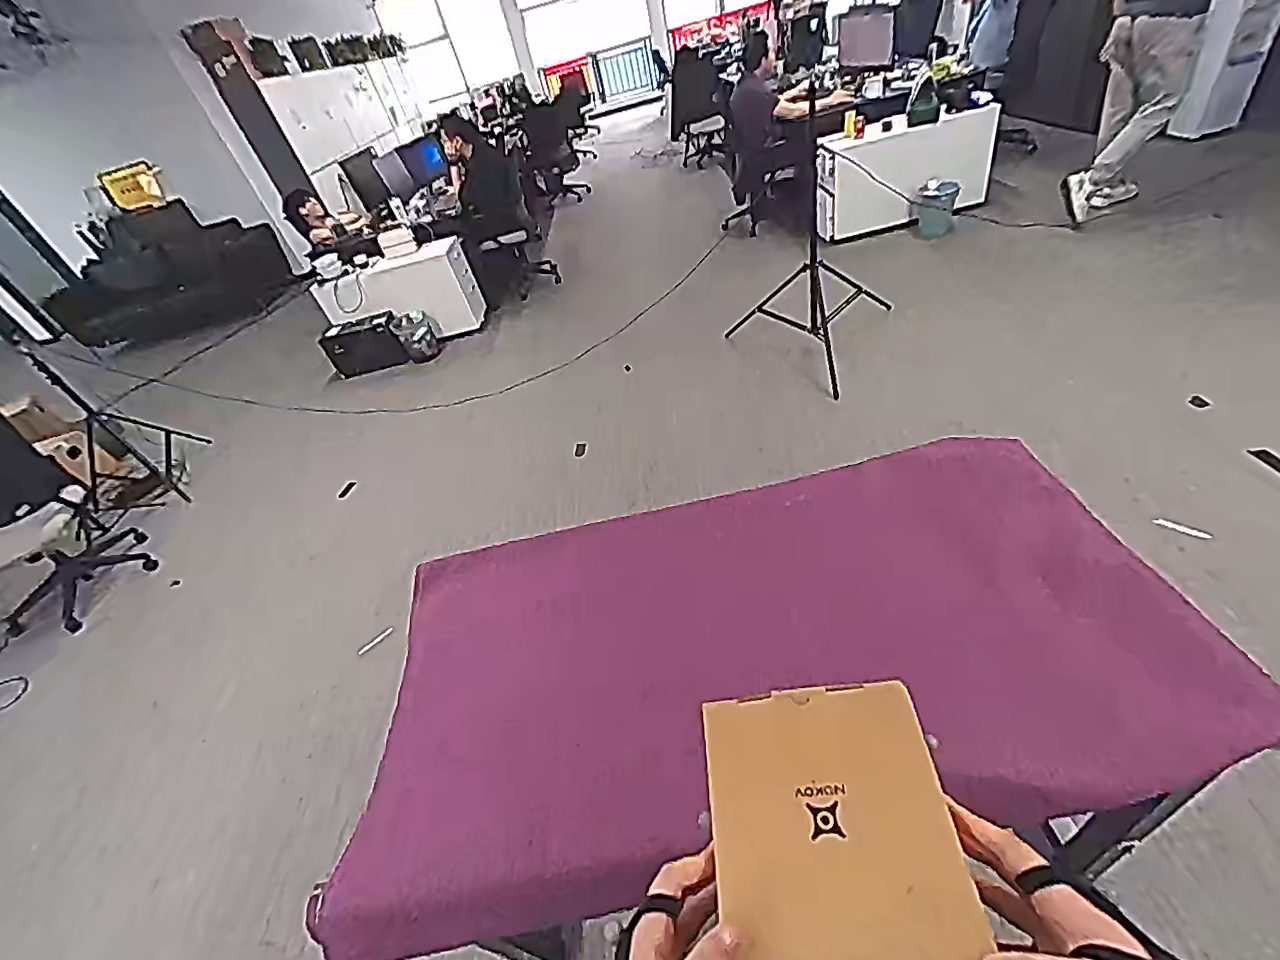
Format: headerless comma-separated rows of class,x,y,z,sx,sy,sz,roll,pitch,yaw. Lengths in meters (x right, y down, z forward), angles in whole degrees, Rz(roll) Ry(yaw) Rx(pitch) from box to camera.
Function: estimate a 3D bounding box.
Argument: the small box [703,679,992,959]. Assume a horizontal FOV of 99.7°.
small box,0.155,0.290,0.445,0.168,0.176,0.179,-12,44,12
